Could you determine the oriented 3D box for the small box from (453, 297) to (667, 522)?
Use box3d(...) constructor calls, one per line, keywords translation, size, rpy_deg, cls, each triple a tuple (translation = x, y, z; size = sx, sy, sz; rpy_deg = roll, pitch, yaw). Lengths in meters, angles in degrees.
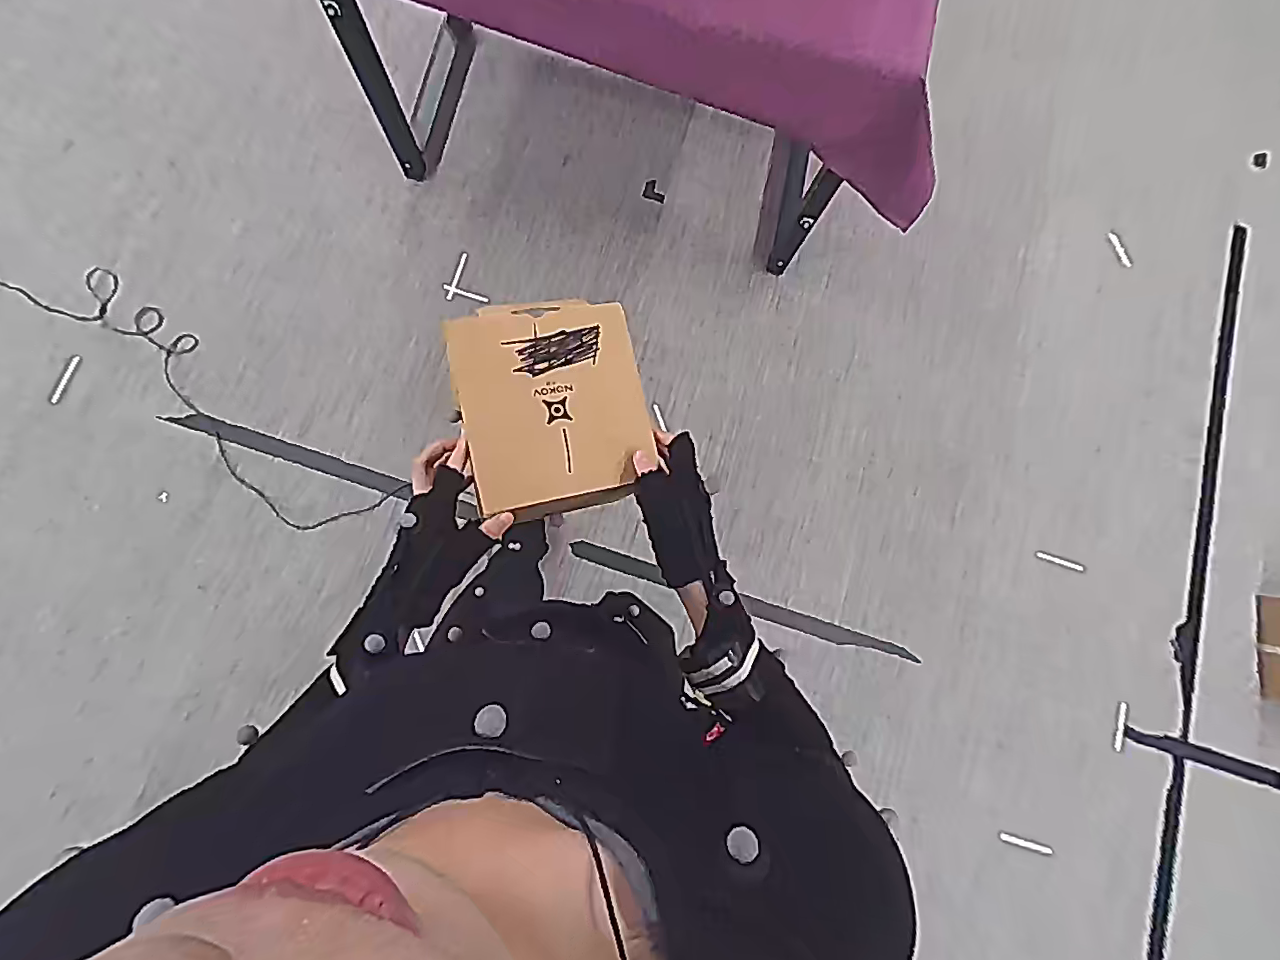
box3d(translation=(-0.092, -0.063, 0.556), size=(0.168, 0.176, 0.179), rpy_deg=(-12, 84, -18), cls="small box")
